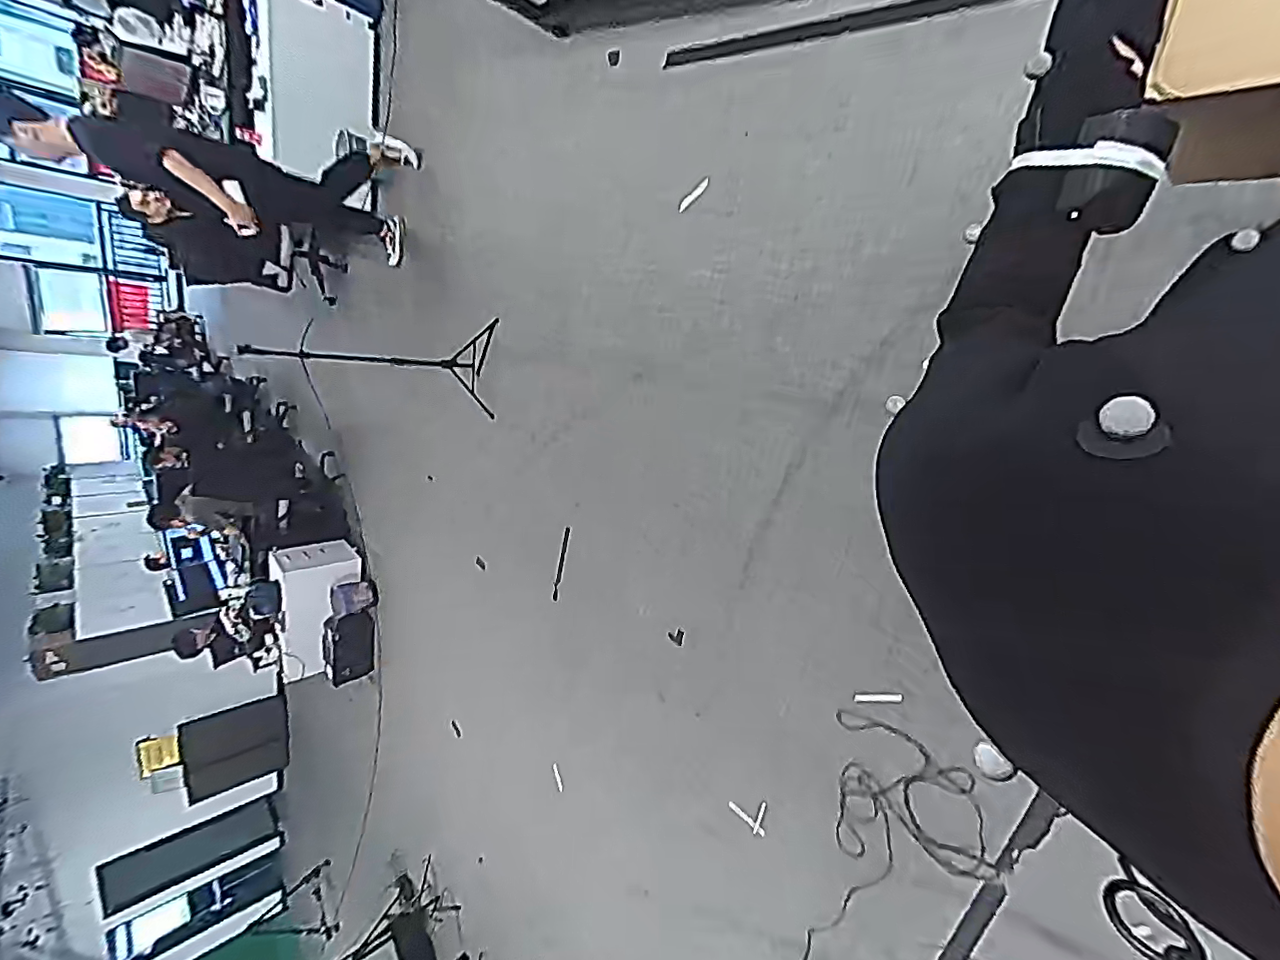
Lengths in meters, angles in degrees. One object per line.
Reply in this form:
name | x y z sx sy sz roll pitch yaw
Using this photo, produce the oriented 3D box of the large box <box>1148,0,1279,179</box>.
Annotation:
large box | 0.599 -0.389 0.298 0.408 0.320 0.320 20 116 42
